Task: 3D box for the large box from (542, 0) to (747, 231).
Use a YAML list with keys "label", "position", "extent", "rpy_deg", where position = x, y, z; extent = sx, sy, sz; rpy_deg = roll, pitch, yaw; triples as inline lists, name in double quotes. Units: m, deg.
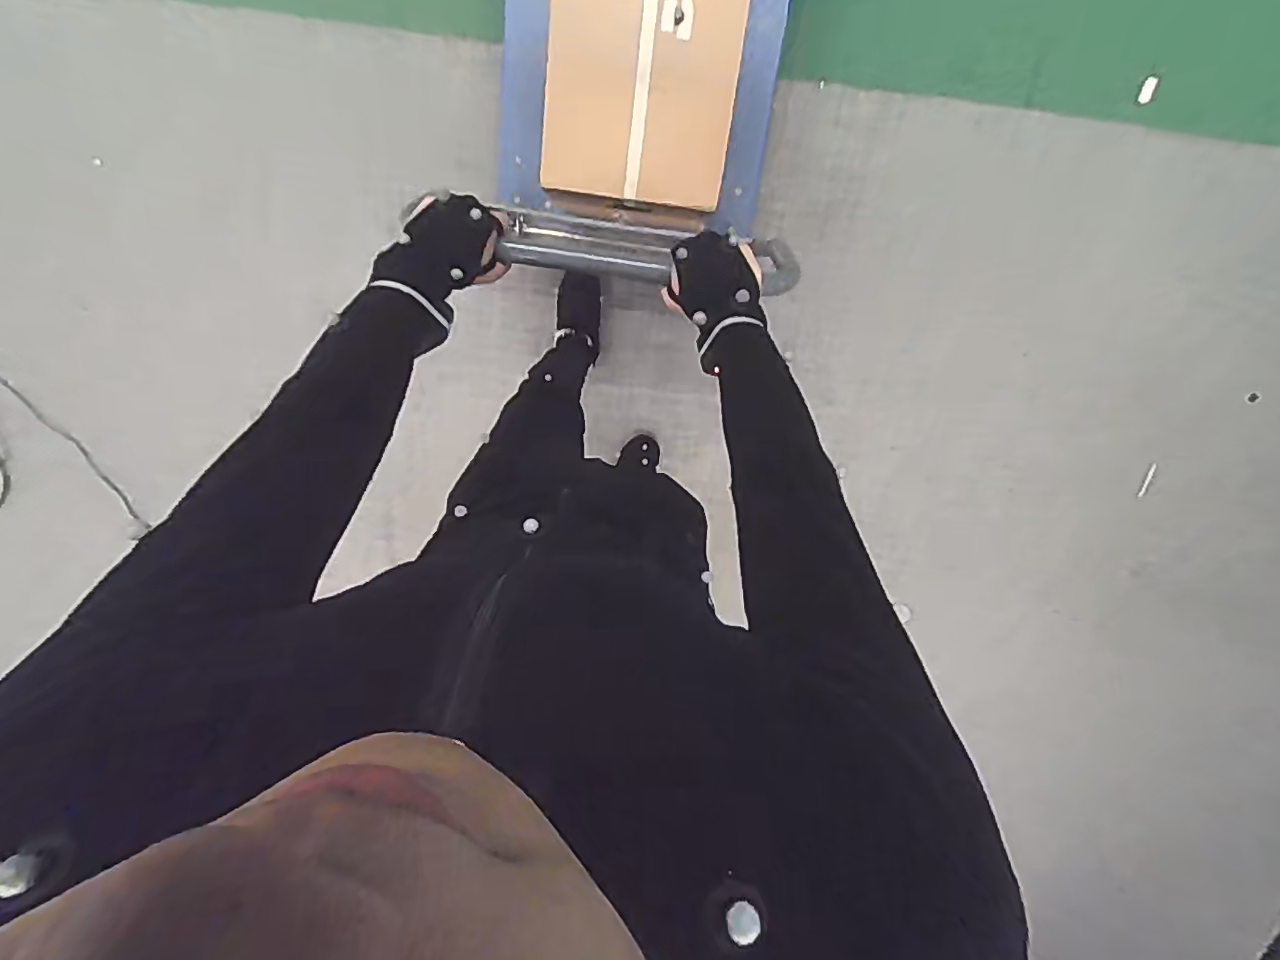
- label: "large box"
  position: [0.005, -0.723, 1.030]
  extent: [0.320, 0.320, 0.408]
  rpy_deg: [7, 108, -3]
